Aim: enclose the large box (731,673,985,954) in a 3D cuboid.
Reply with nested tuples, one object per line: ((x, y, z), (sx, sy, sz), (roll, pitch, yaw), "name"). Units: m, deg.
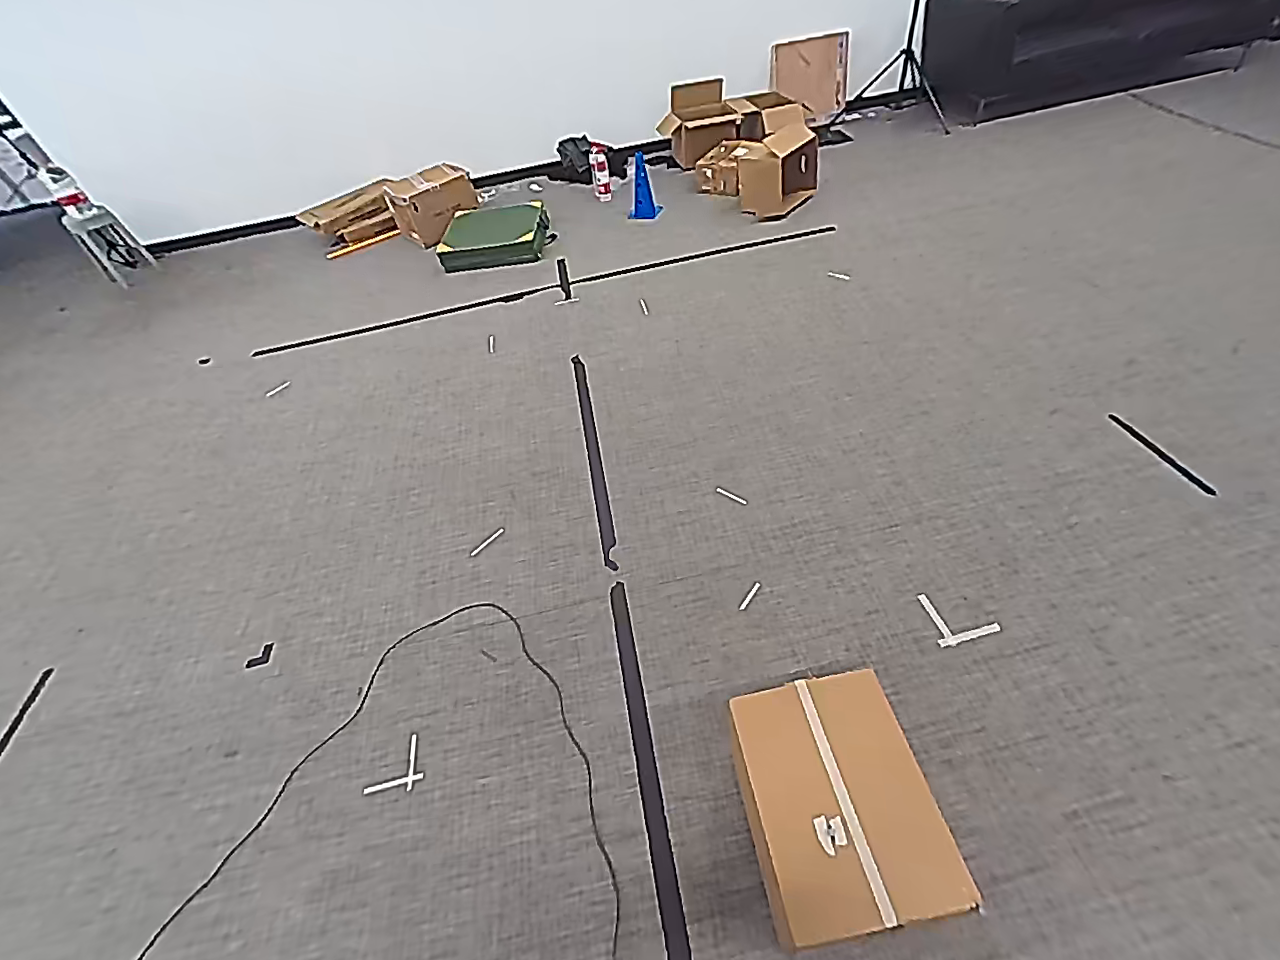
((0.391, 0.675, 1.108), (0.320, 0.320, 0.408), (-13, 48, -1), "large box")
